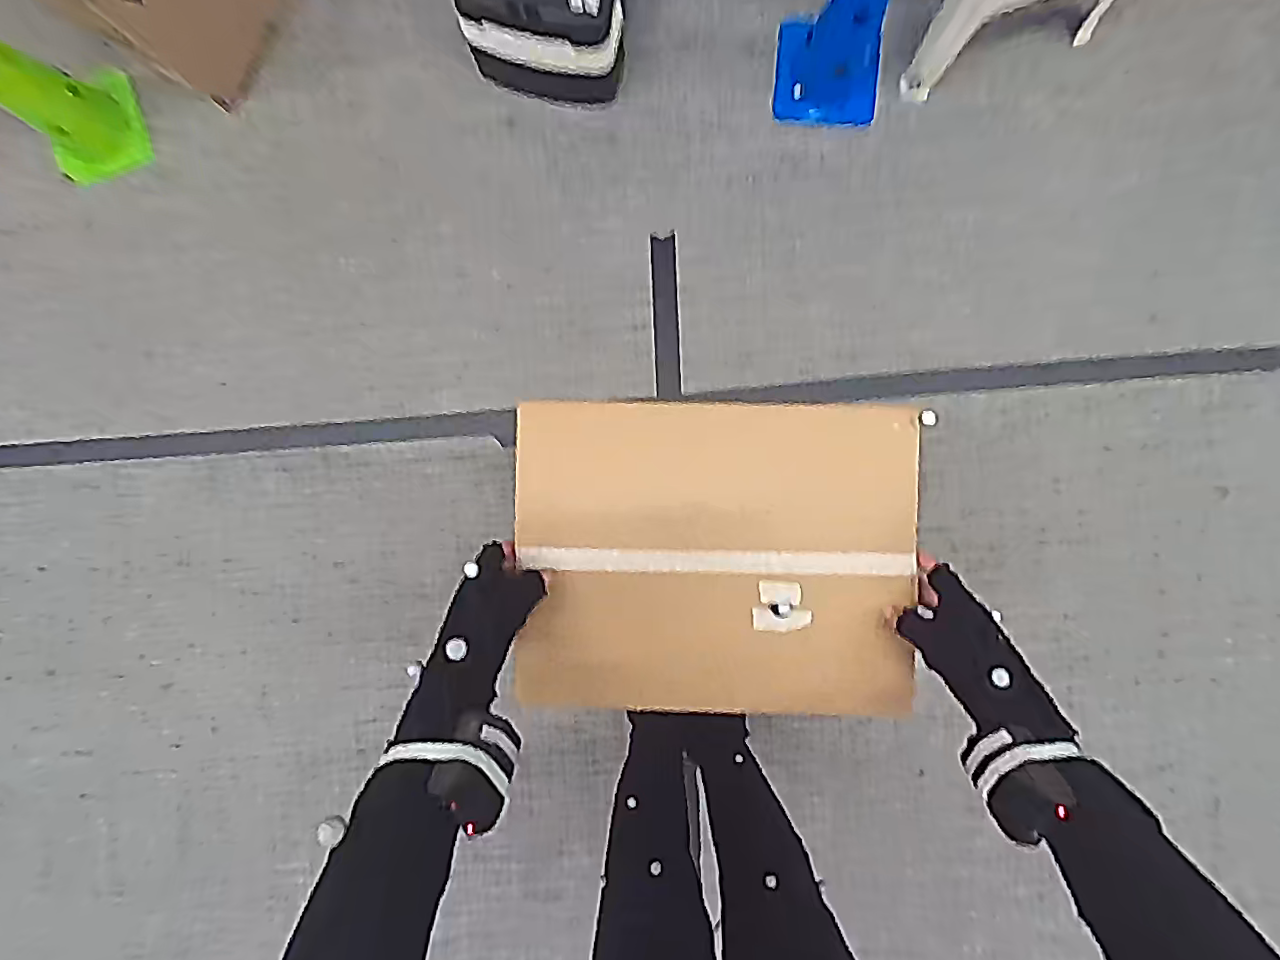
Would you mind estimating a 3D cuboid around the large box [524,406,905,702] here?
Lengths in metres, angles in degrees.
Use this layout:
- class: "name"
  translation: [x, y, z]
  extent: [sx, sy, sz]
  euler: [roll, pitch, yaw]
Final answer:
- class: "large box"
  translation: [0.077, 0.077, 0.715]
  extent: [0.408, 0.320, 0.320]
  euler: [0, 92, 1]
